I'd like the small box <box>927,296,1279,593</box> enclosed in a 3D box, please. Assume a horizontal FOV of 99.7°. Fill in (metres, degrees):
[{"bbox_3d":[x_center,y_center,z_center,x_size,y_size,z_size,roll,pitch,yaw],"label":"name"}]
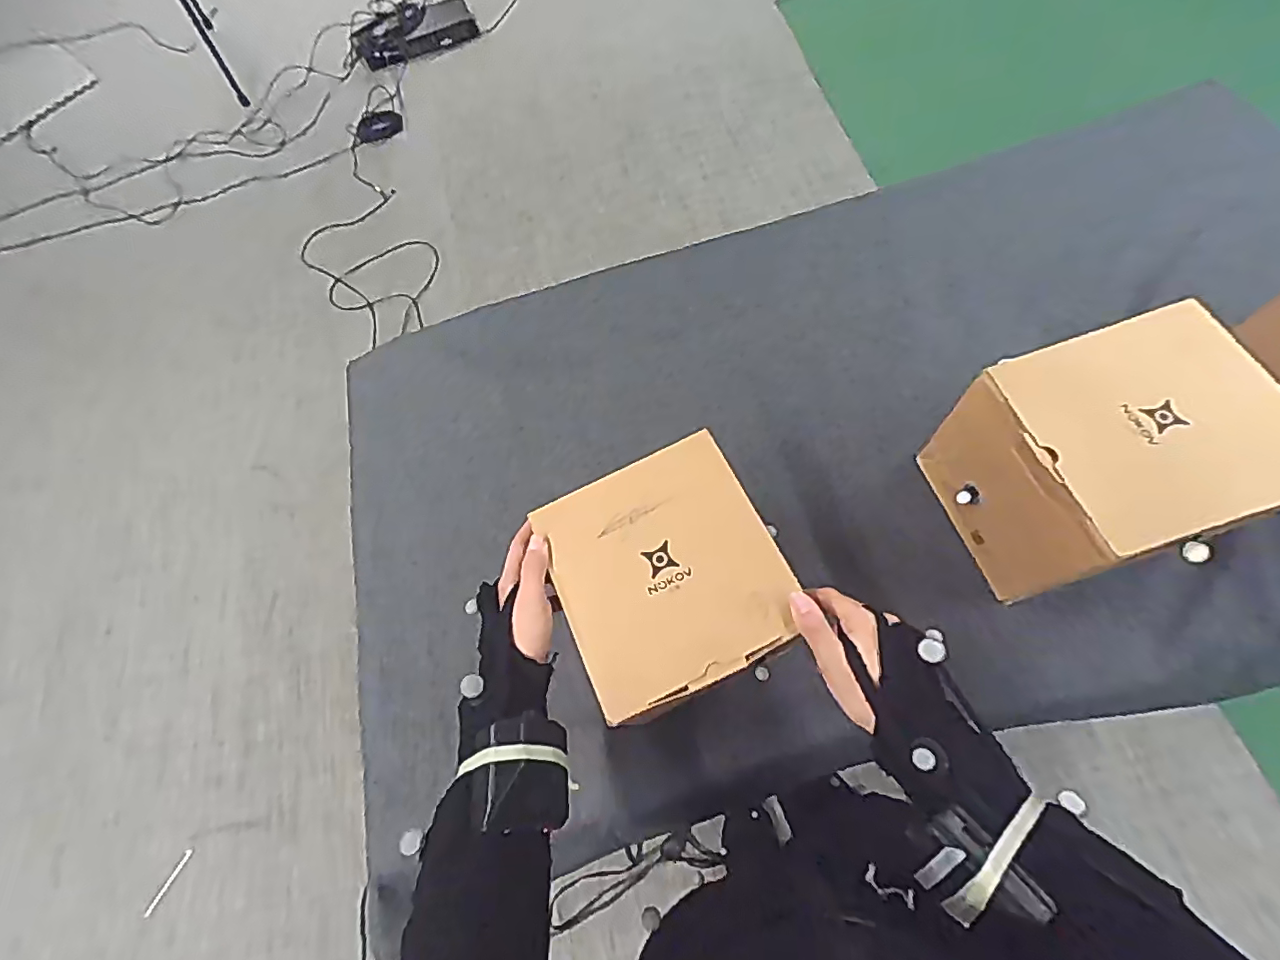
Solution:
[{"bbox_3d":[0.390,-0.017,0.464,0.179,0.176,0.168,-19,66,2],"label":"small box"}]
